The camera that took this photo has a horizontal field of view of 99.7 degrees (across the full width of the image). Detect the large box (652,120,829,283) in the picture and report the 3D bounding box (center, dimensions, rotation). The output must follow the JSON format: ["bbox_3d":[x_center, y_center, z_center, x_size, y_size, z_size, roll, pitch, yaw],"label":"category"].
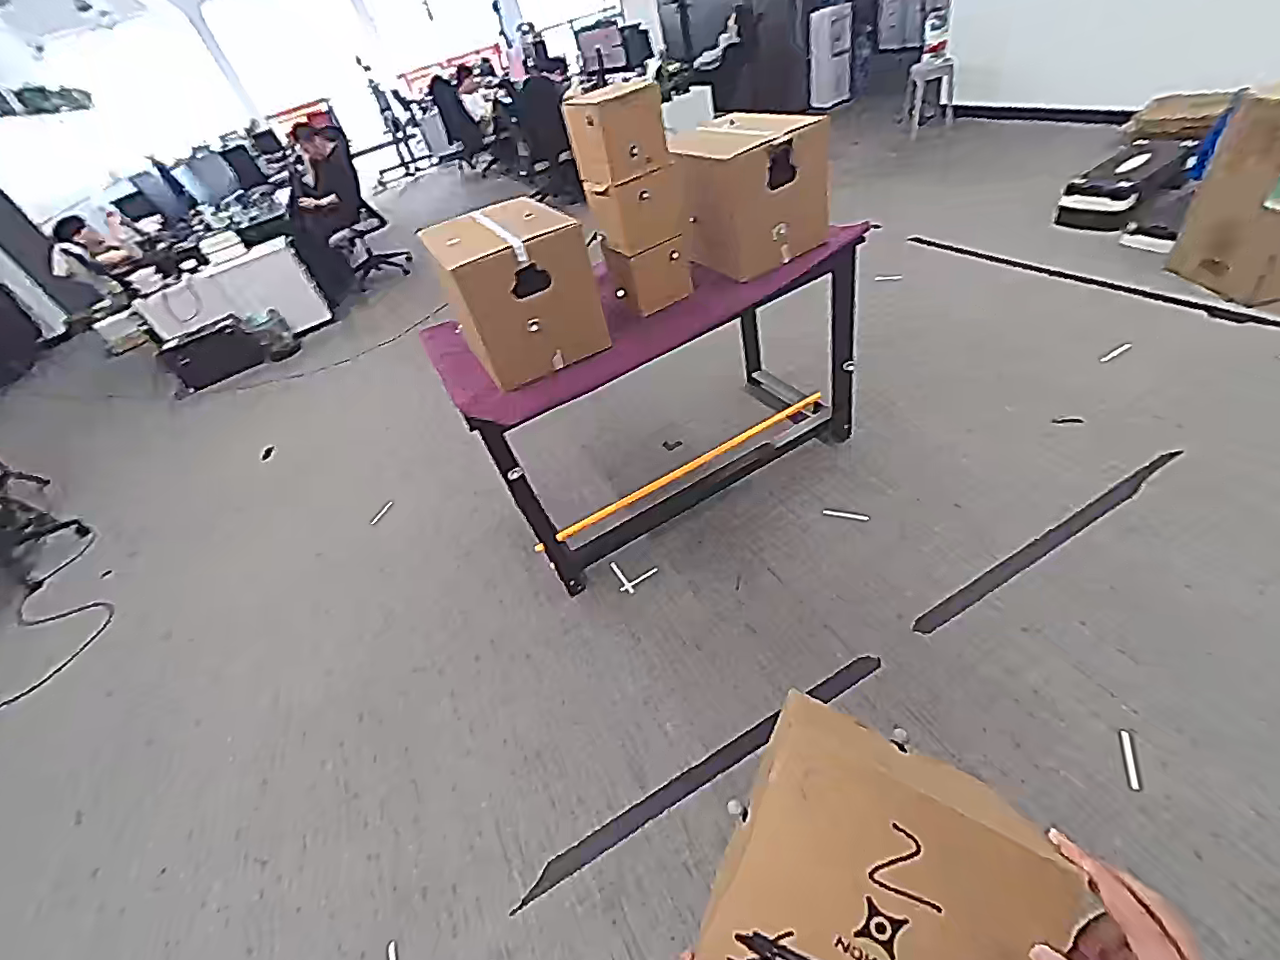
[{"bbox_3d":[0.281,-0.804,1.545,0.320,0.320,0.408,-28,41,-13],"label":"large box"}]

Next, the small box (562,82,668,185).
[{"bbox_3d":[-0.056,-0.817,1.280,0.168,0.176,0.179,-32,44,-16],"label":"small box"}]
